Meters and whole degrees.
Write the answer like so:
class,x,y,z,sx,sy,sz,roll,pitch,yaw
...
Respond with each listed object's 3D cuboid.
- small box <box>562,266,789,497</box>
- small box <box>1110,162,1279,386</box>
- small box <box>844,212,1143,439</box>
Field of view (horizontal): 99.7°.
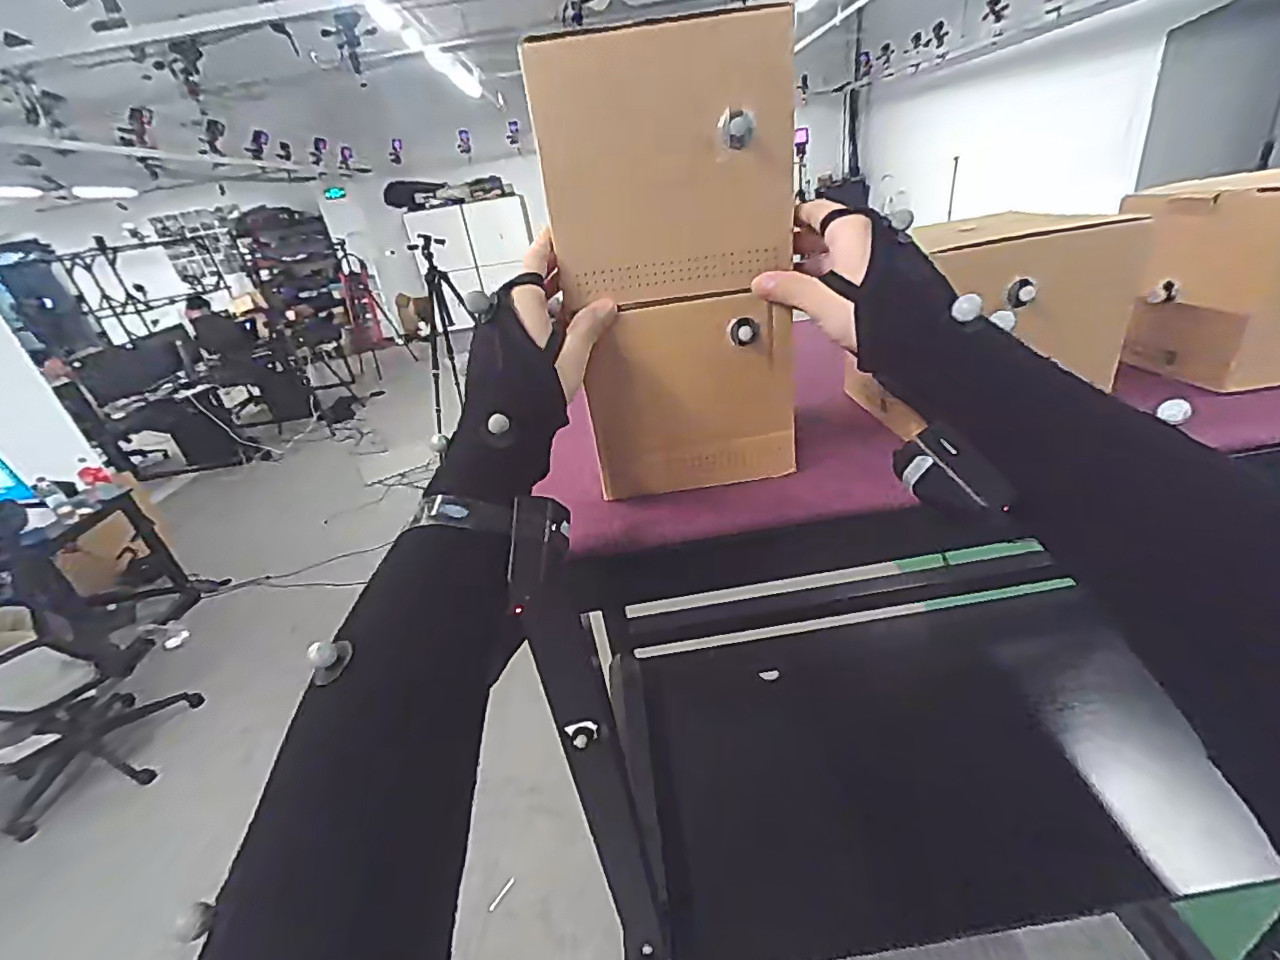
class,x,y,z,sx,sy,sz,roll,pitch,yaw
small box,0.035,-0.096,0.519,0.179,0.176,0.168,-9,28,2
small box,0.592,-0.197,0.512,0.179,0.176,0.168,-9,27,4
small box,0.311,-0.150,0.519,0.179,0.176,0.168,-9,27,3
